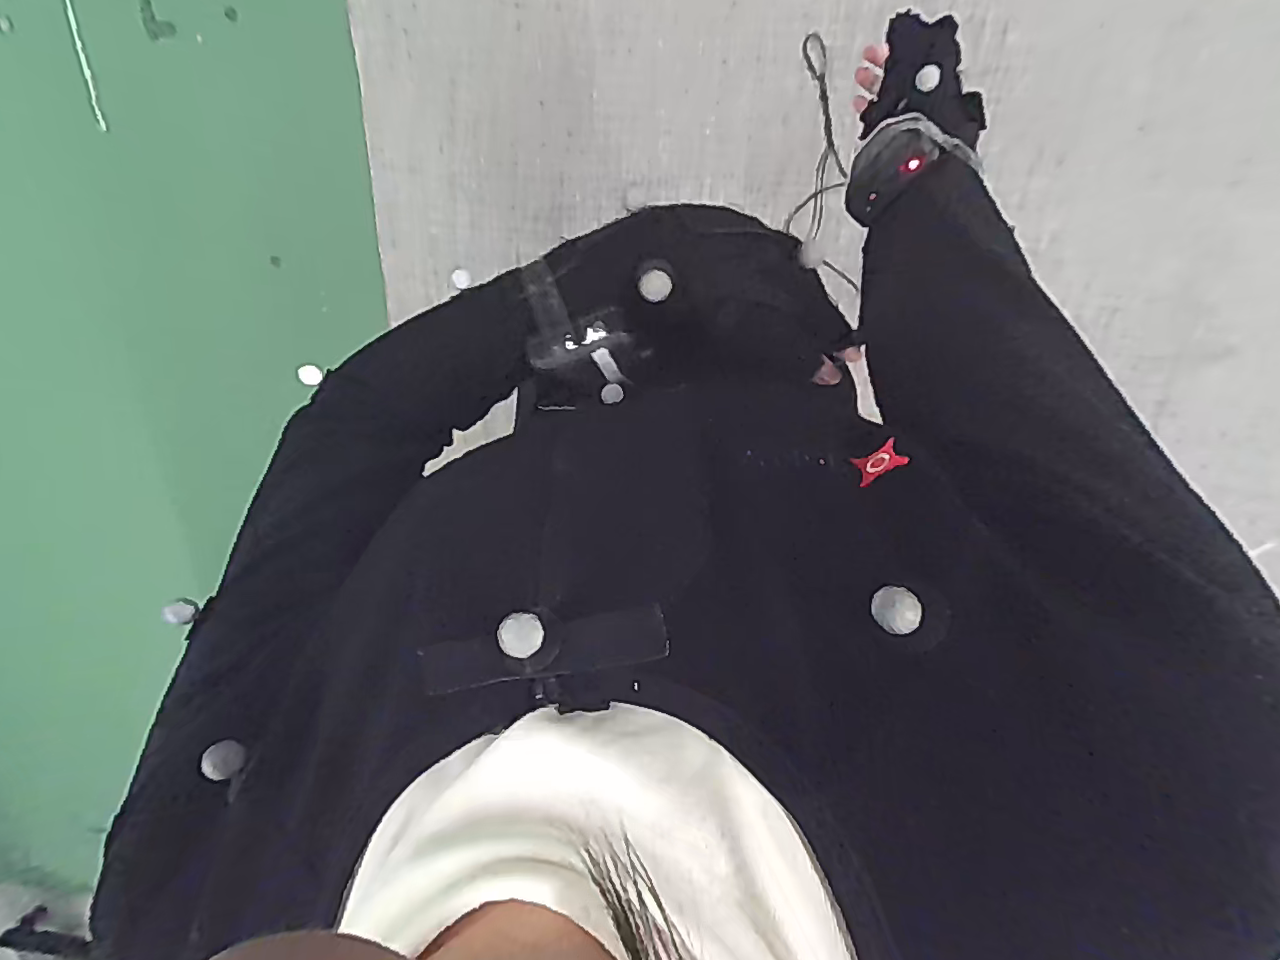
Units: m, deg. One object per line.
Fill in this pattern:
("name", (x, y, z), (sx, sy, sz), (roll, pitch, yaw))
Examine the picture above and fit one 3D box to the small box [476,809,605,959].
("small box", (-0.163, 0.700, 0.924), (0.179, 0.176, 0.168), (6, 114, 4))
